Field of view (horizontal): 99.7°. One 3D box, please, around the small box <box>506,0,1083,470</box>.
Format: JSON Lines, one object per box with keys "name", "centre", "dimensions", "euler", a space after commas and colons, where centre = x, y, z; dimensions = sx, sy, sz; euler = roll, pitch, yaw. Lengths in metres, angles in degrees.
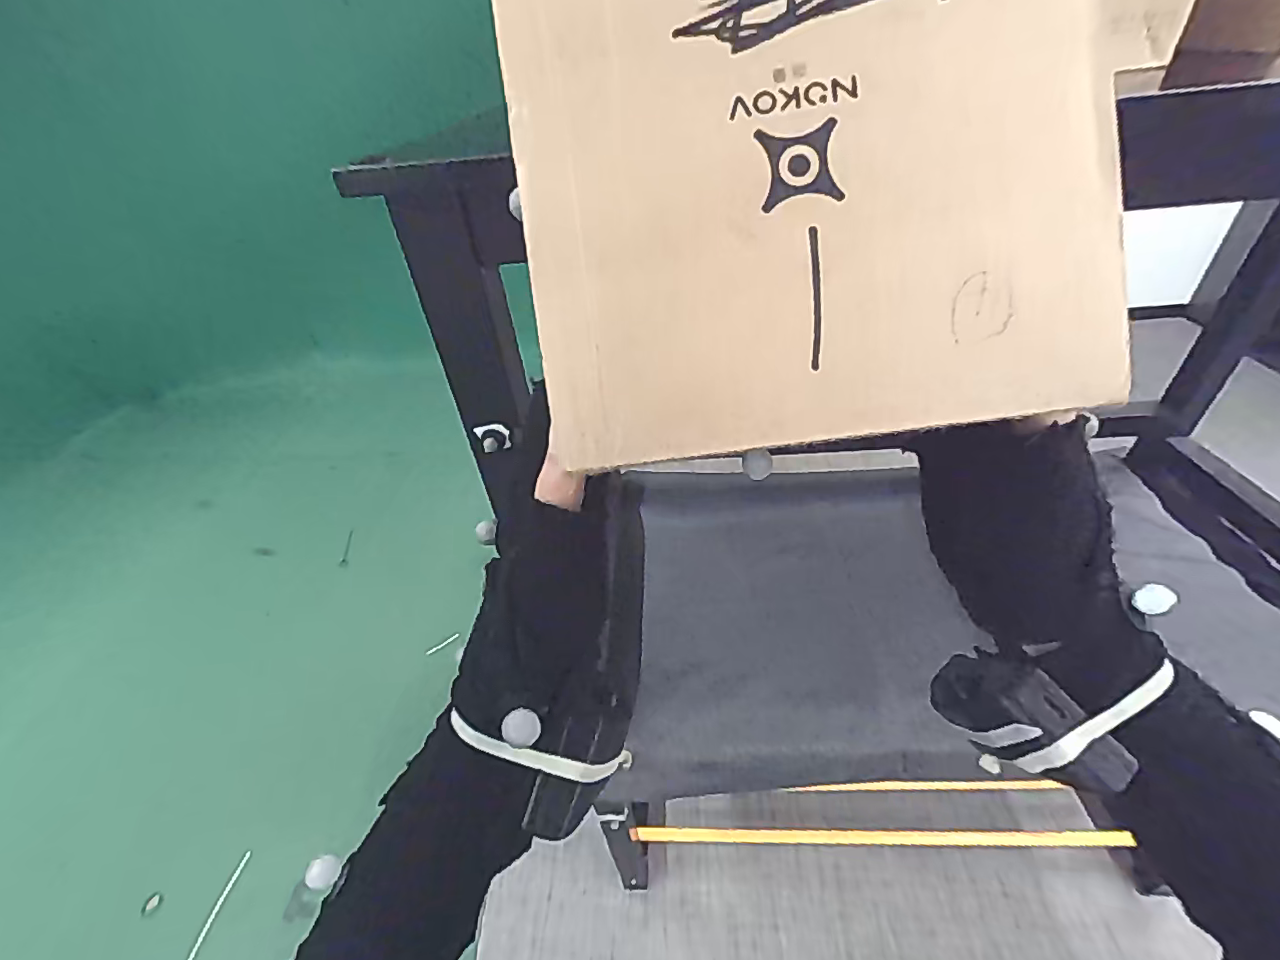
{"name": "small box", "centre": [0.050, -0.101, 0.246], "dimensions": [0.168, 0.179, 0.176], "euler": [-7, 3, 5]}
